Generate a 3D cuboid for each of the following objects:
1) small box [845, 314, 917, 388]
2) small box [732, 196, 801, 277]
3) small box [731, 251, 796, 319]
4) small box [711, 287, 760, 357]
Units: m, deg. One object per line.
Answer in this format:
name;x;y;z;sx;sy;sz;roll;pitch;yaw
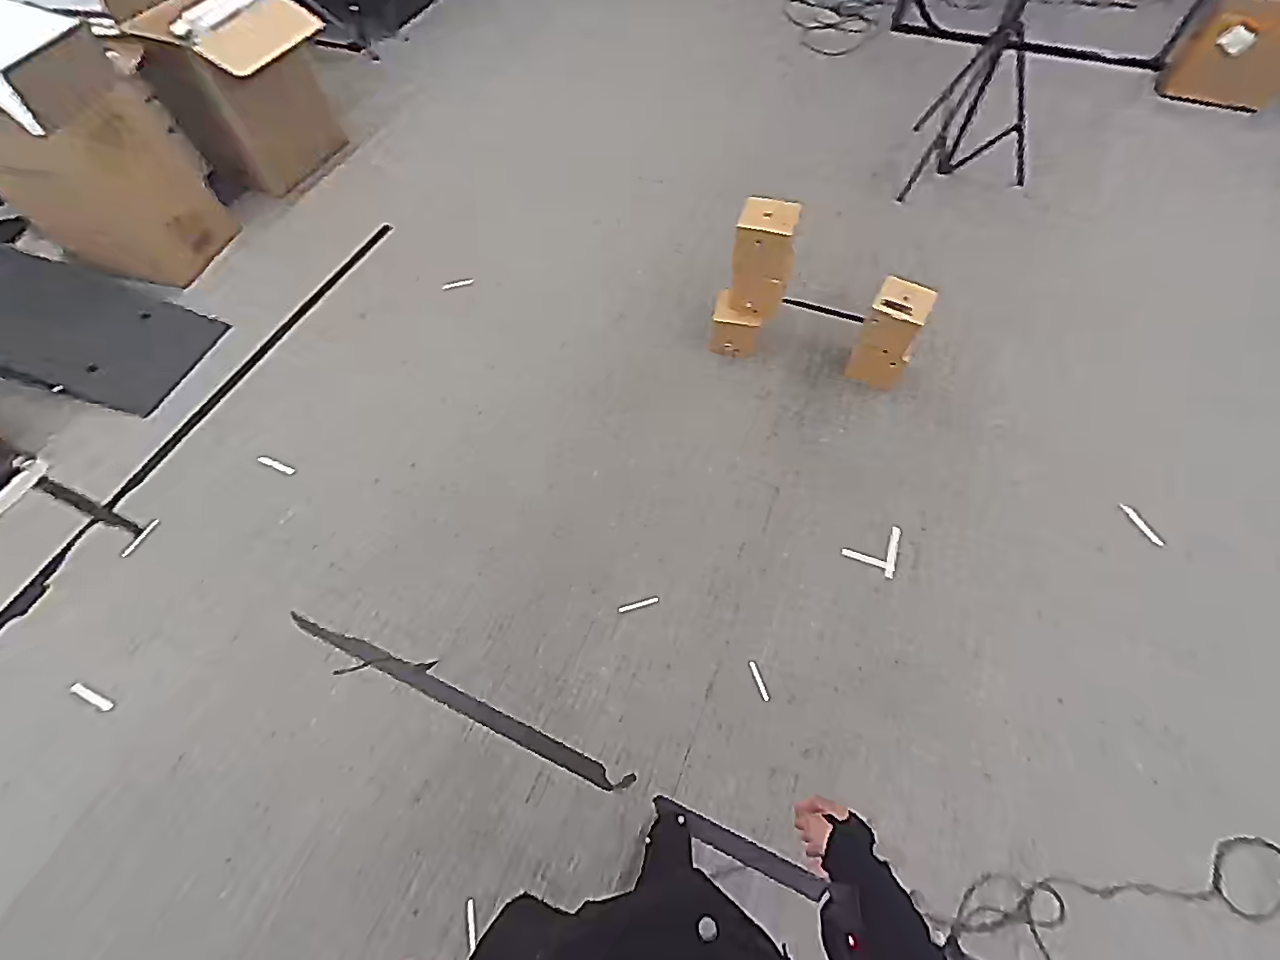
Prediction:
small box;0.856;-0.456;1.933;0.179;0.176;0.168;21;64;12
small box;0.408;-0.790;1.762;0.179;0.176;0.168;16;62;12
small box;0.428;-0.703;1.900;0.168;0.176;0.179;23;64;16
small box;0.362;-0.593;2.028;0.168;0.176;0.179;10;62;8
